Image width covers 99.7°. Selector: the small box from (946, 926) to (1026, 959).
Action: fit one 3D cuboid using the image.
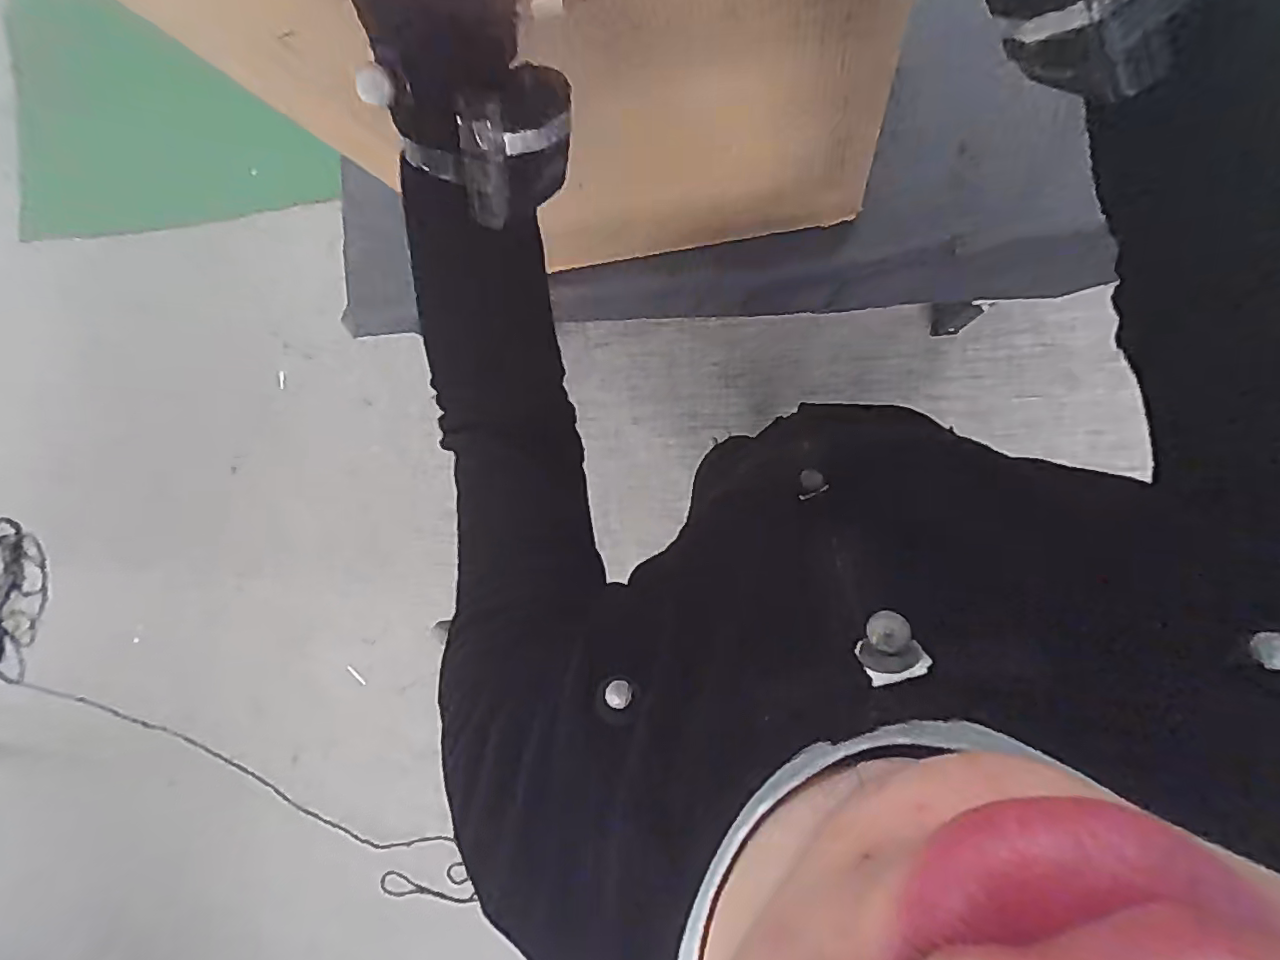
[{"bbox_3d":[0.912,1.288,1.351,0.179,0.176,0.168,42,101,11],"label":"small box"}]
